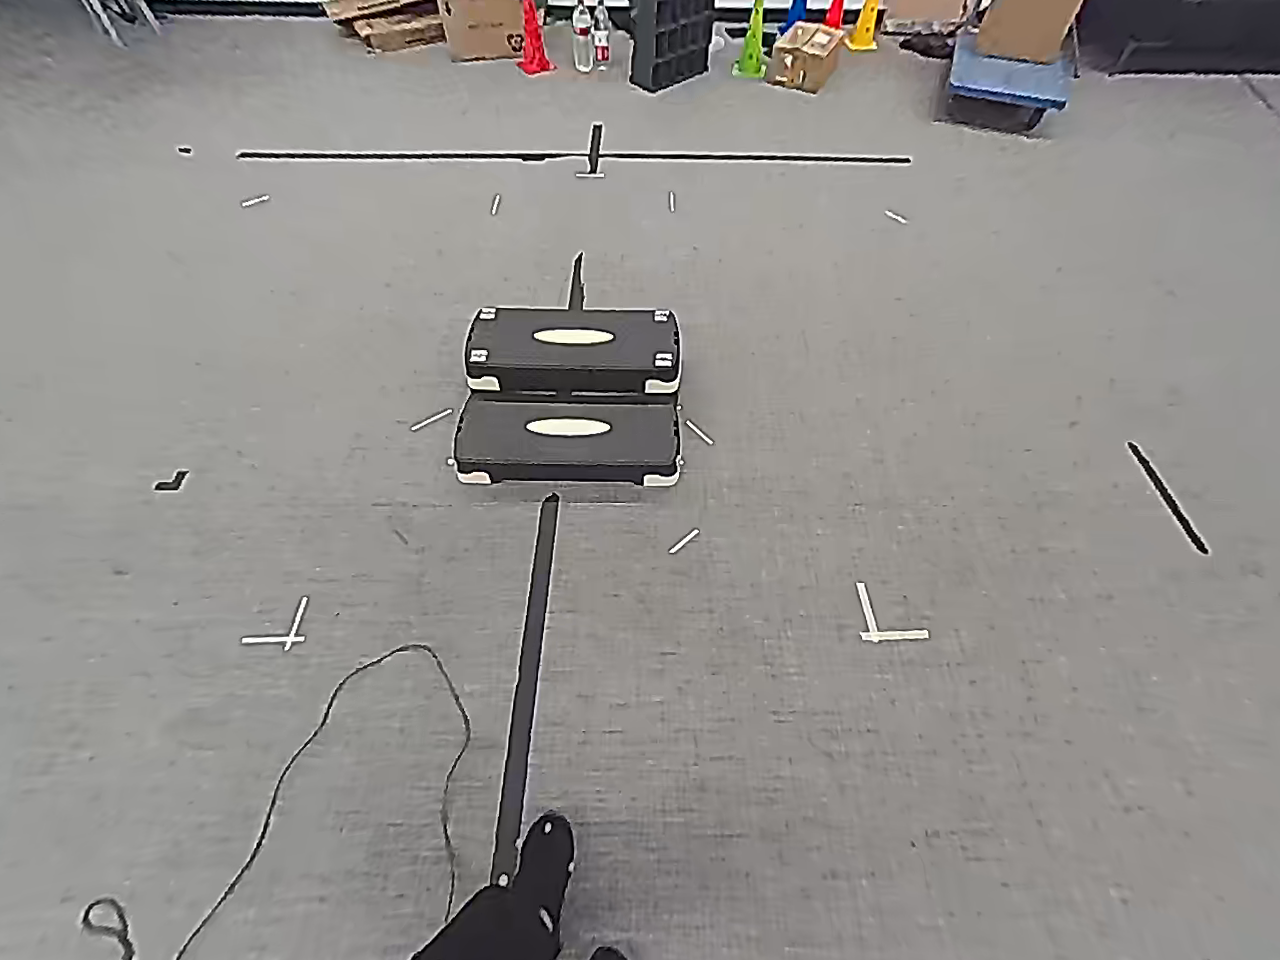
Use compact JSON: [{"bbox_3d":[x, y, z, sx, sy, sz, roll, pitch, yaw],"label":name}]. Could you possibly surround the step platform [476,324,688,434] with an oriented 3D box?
[{"bbox_3d":[-0.183,-0.339,1.787,0.684,0.204,0.286,5,55,2],"label":"step platform"}]
